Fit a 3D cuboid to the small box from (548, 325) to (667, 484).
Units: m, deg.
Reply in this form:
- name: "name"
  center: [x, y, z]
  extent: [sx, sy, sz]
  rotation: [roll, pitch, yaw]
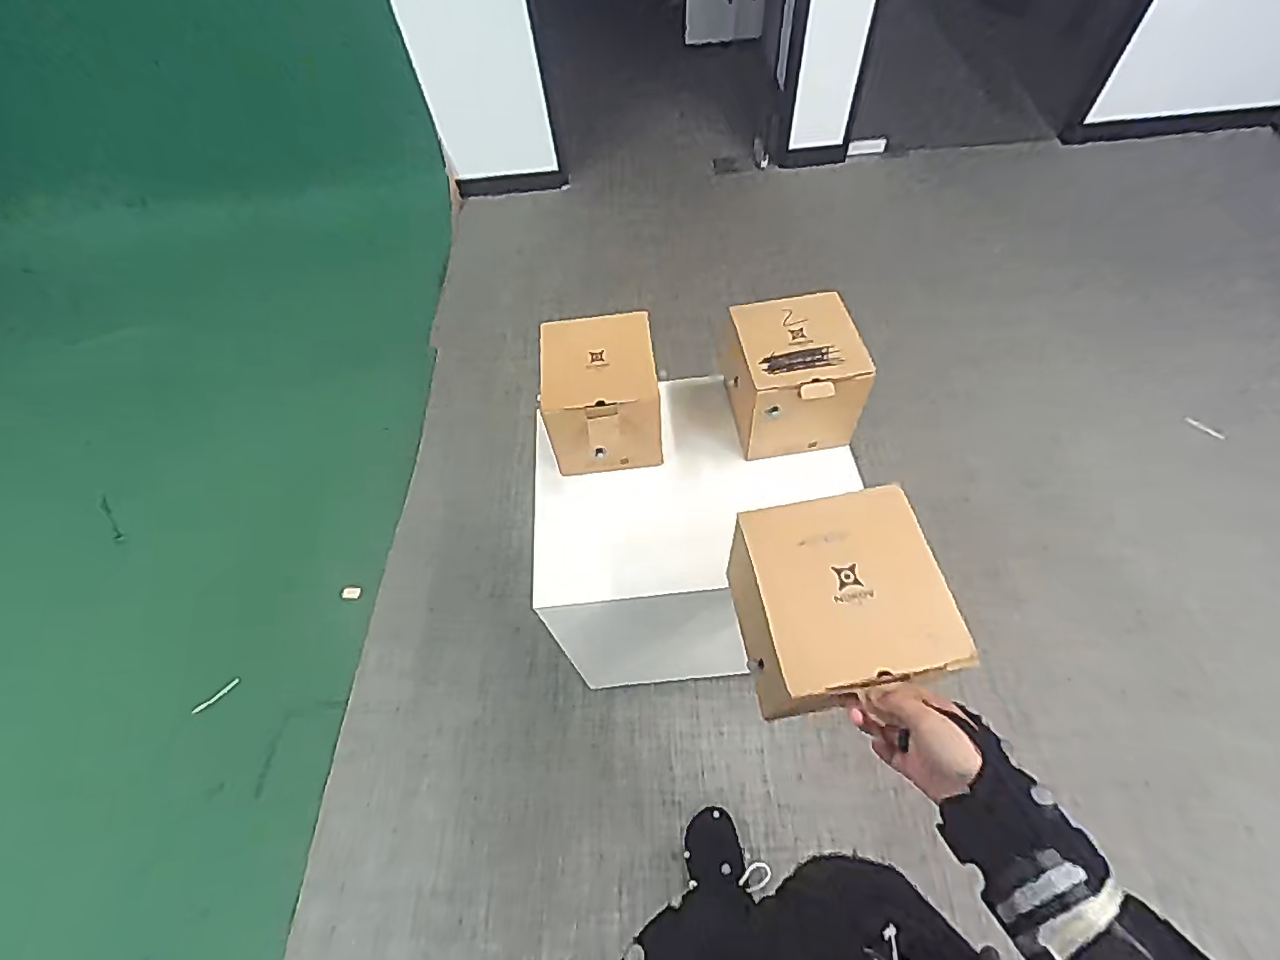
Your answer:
- name: "small box"
  center: [-0.048, -0.115, 0.848]
  extent: [0.168, 0.176, 0.179]
  rotation: [-6, 58, 0]

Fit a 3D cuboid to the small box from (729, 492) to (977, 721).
- name: "small box"
  center: [0.194, 0.139, 0.556]
  extent: [0.168, 0.176, 0.179]
  rotation: [-10, 58, -1]
